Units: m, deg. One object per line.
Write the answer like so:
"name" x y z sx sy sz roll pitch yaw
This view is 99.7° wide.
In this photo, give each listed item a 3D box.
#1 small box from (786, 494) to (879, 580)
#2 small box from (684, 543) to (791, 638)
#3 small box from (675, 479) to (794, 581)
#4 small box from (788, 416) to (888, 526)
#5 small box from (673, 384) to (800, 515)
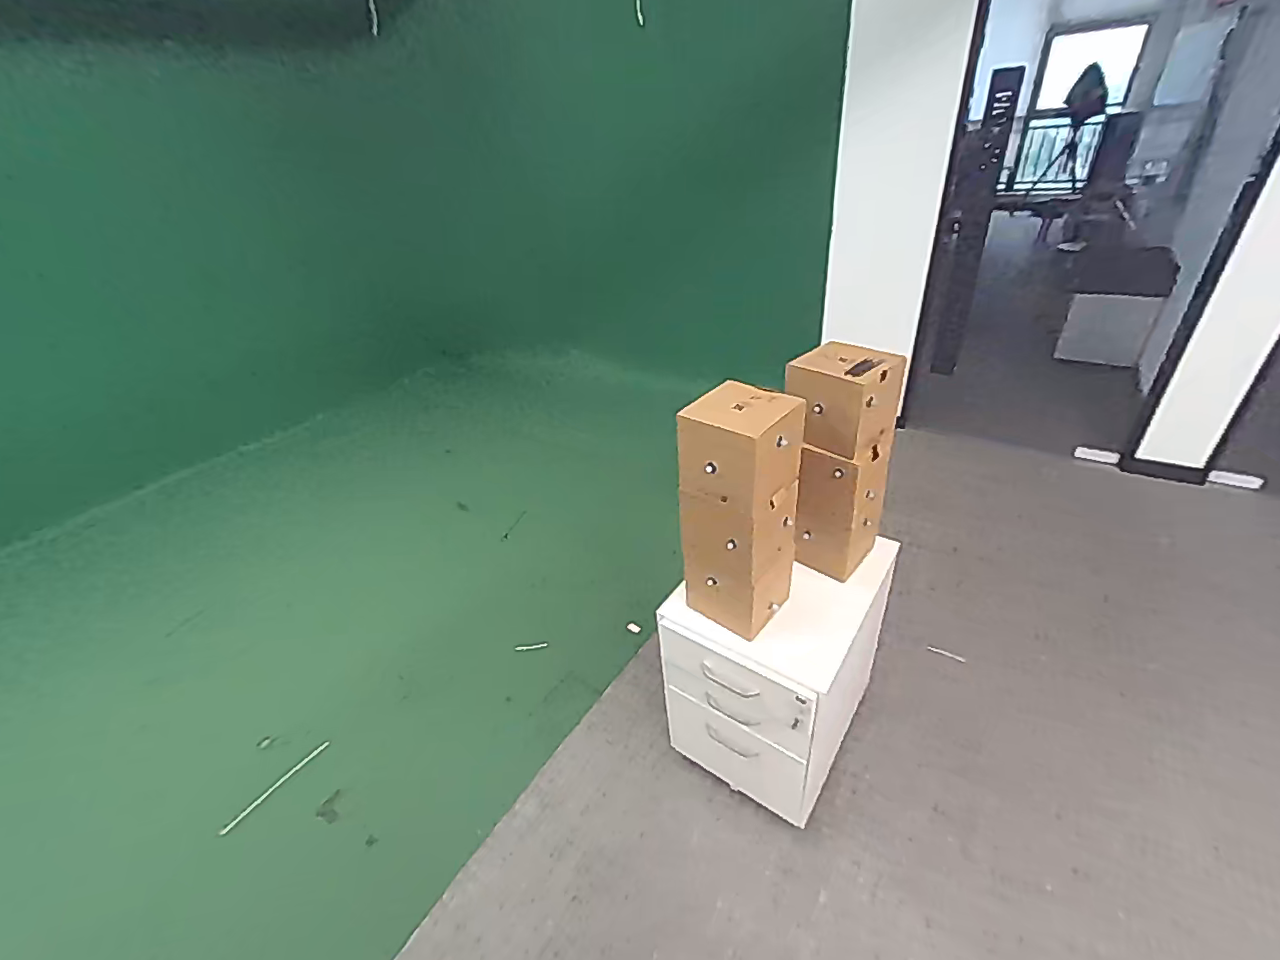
"small box" 0.449 0.113 1.308 0.179 0.176 0.168 24 44 38
"small box" 0.210 0.214 1.194 0.179 0.176 0.168 24 43 36
"small box" 0.192 0.080 1.104 0.179 0.176 0.168 22 41 36
"small box" 0.428 -0.021 1.219 0.179 0.176 0.168 24 44 37
"small box" 0.181 -0.059 1.016 0.168 0.176 0.179 23 41 35
